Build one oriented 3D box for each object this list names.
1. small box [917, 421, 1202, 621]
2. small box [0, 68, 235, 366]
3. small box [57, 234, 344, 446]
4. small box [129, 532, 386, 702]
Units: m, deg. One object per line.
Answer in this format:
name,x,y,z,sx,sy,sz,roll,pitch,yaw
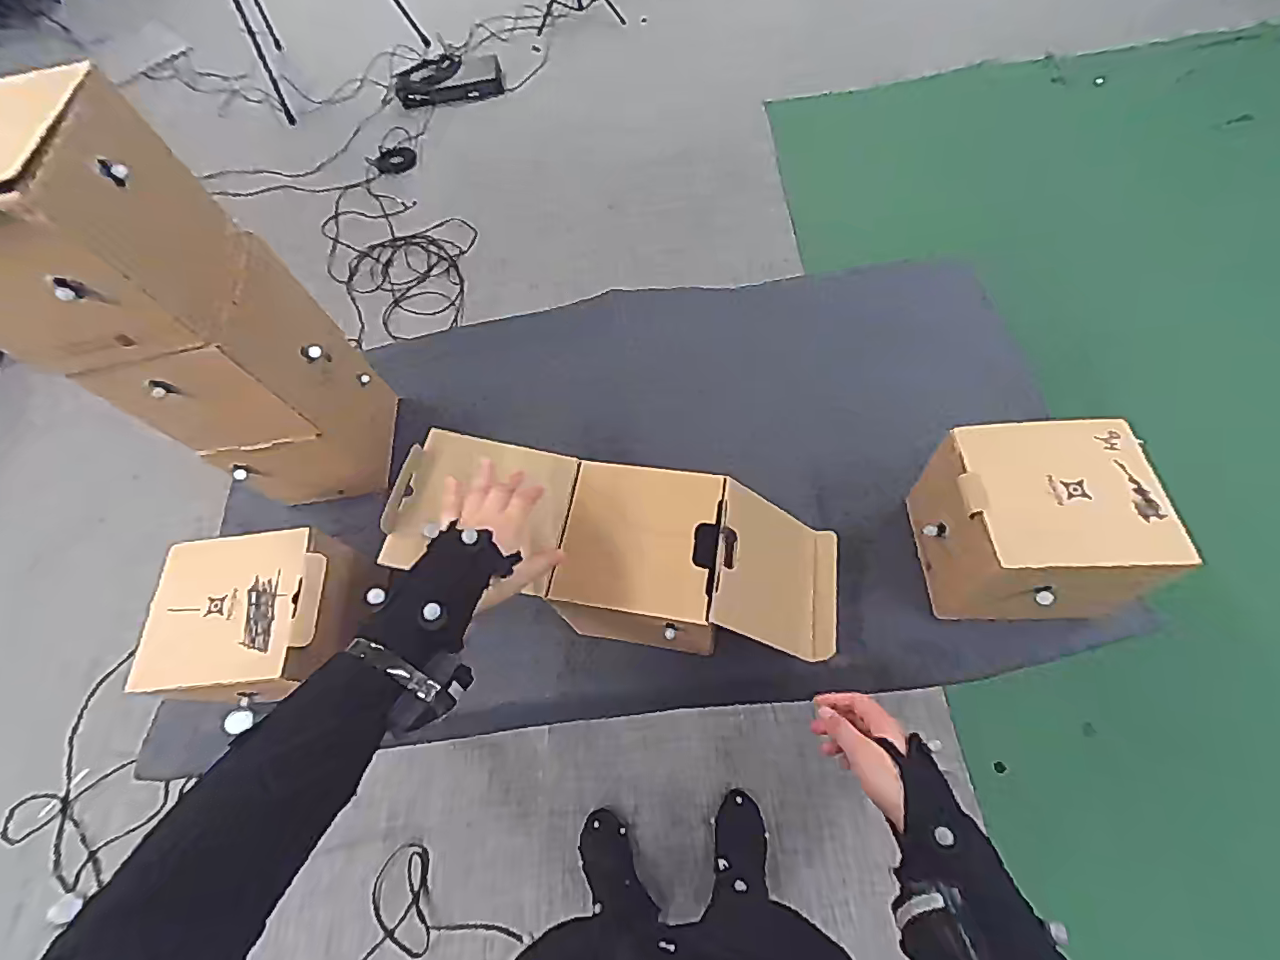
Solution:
small box,0.428,0.053,0.599,0.179,0.176,0.168,-3,60,7
small box,-0.516,-0.222,0.492,0.168,0.176,0.179,-10,63,1
small box,-0.491,-0.153,0.637,0.179,0.176,0.168,-7,65,3
small box,-0.438,0.173,0.657,0.179,0.176,0.168,-7,64,4
